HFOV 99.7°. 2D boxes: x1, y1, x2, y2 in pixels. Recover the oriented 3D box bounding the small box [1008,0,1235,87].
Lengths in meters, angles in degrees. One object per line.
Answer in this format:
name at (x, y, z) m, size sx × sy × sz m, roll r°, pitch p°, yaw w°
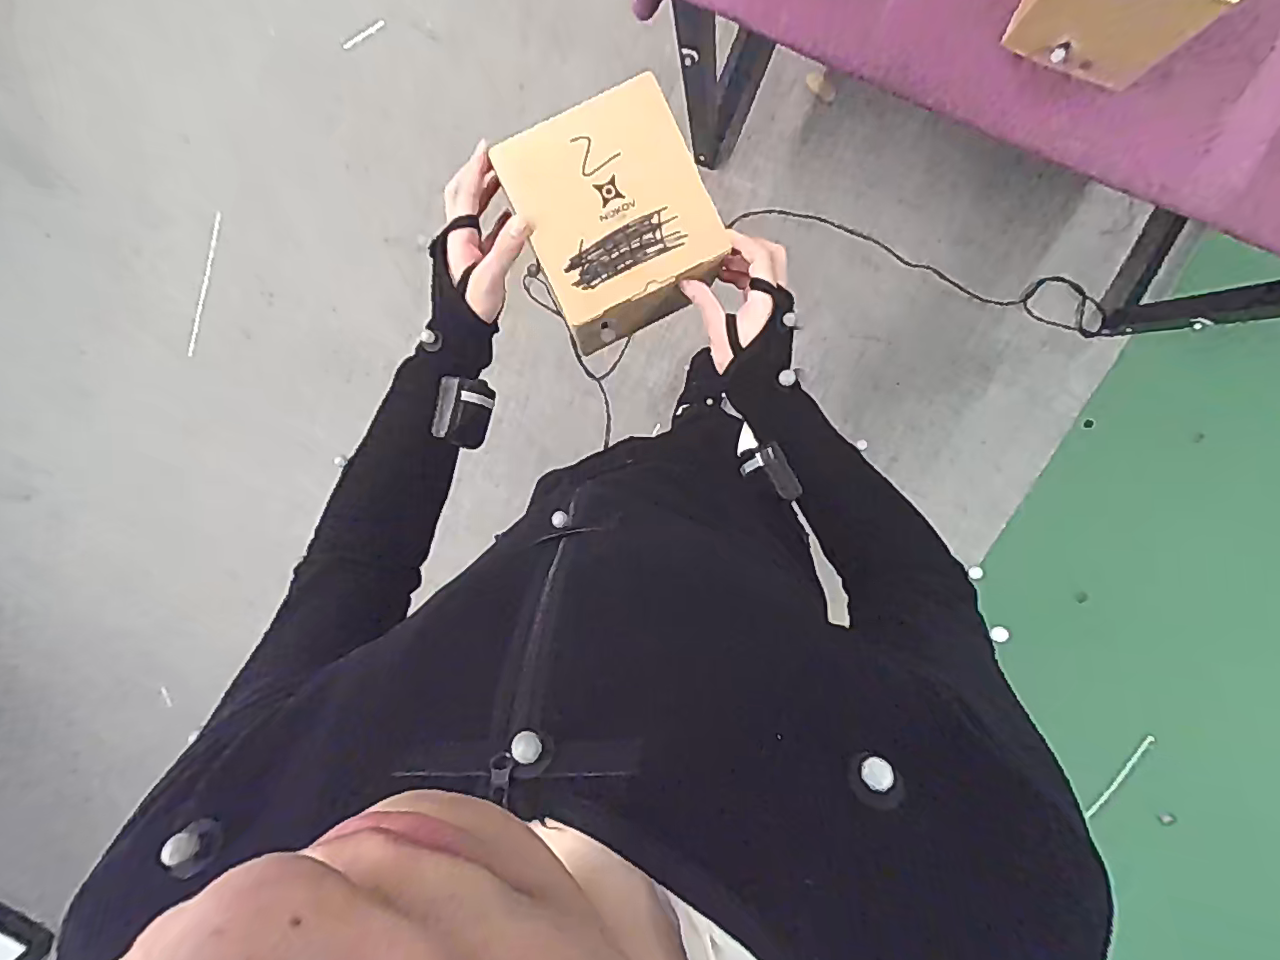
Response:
small box at (0.555, -0.589, 0.592) m, size 0.168 × 0.176 × 0.179 m, roll 26°, pitch 104°, yaw 5°
